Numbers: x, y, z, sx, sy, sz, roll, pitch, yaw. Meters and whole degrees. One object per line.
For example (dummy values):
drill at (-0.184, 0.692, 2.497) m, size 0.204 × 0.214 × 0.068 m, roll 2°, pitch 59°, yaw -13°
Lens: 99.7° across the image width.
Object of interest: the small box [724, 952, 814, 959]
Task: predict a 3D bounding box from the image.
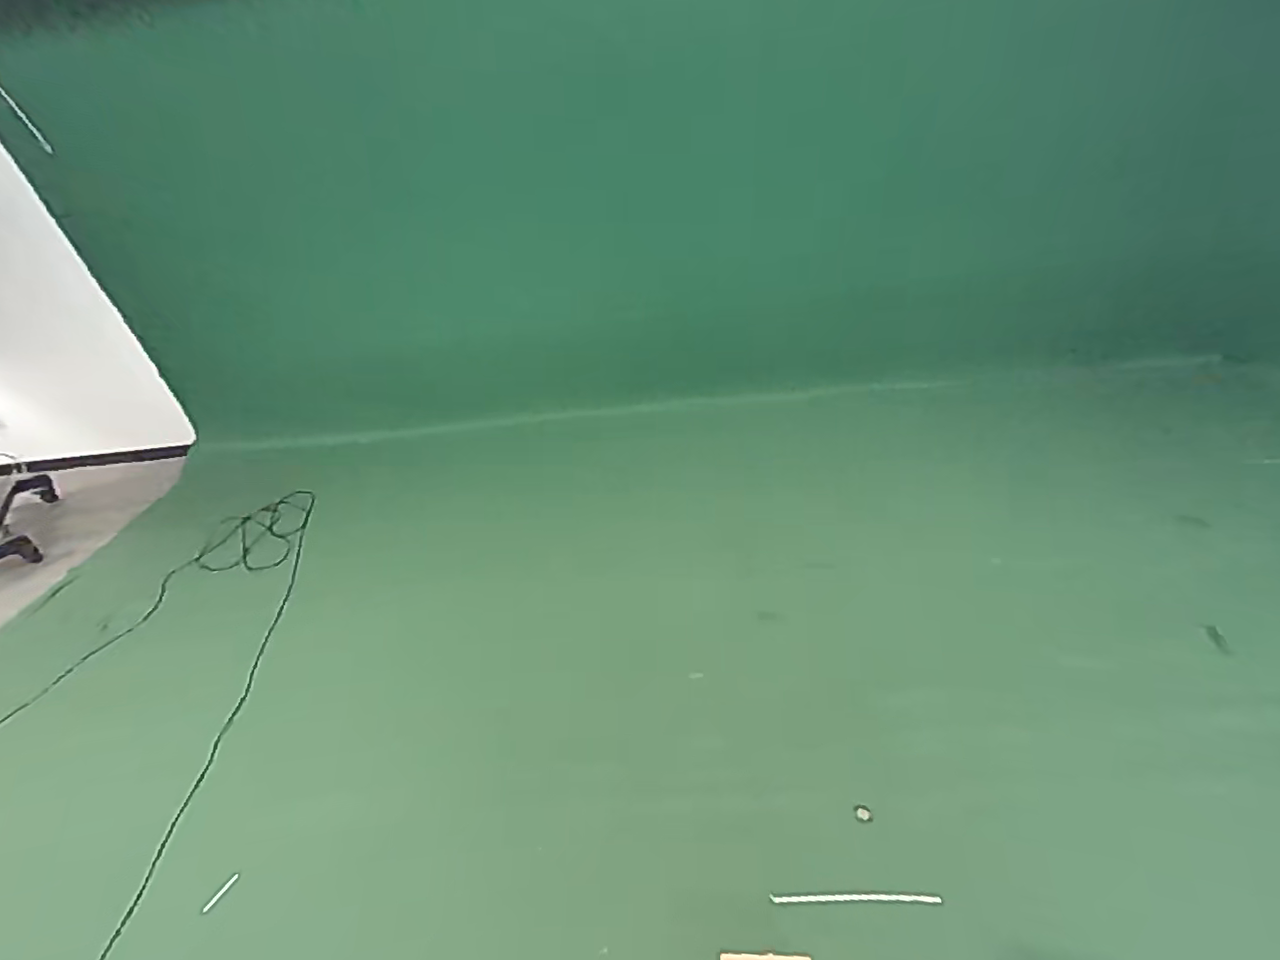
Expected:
small box at (0.254, 1.032, 1.030) m, size 0.179 × 0.176 × 0.168 m, roll -5°, pitch 35°, yaw 8°
